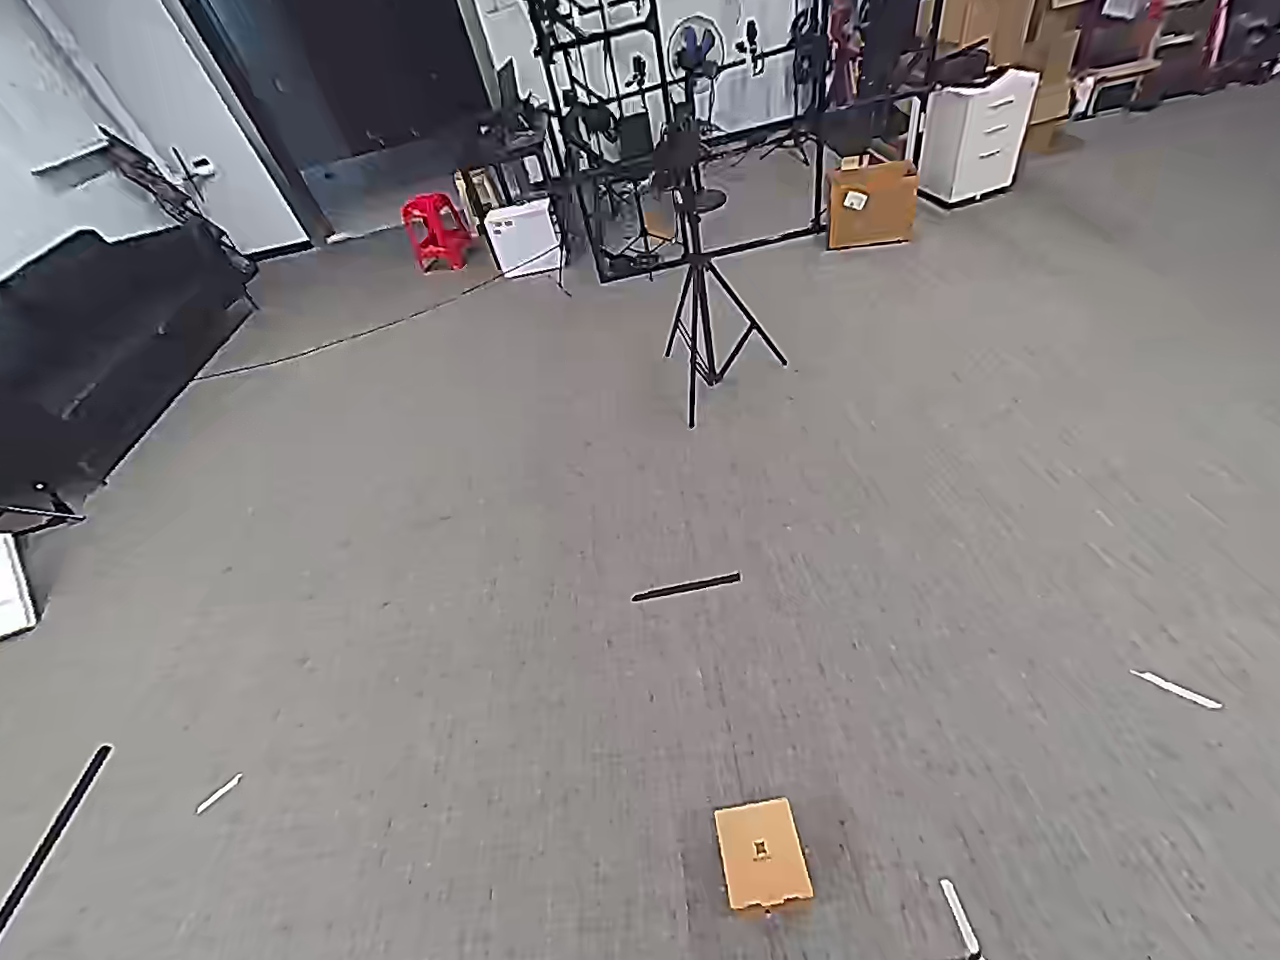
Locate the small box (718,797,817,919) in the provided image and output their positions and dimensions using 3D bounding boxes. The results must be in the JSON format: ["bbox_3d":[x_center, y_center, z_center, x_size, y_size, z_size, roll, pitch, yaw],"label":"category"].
[{"bbox_3d":[0.271,0.820,1.172,0.168,0.176,0.179,-13,44,3],"label":"small box"}]
